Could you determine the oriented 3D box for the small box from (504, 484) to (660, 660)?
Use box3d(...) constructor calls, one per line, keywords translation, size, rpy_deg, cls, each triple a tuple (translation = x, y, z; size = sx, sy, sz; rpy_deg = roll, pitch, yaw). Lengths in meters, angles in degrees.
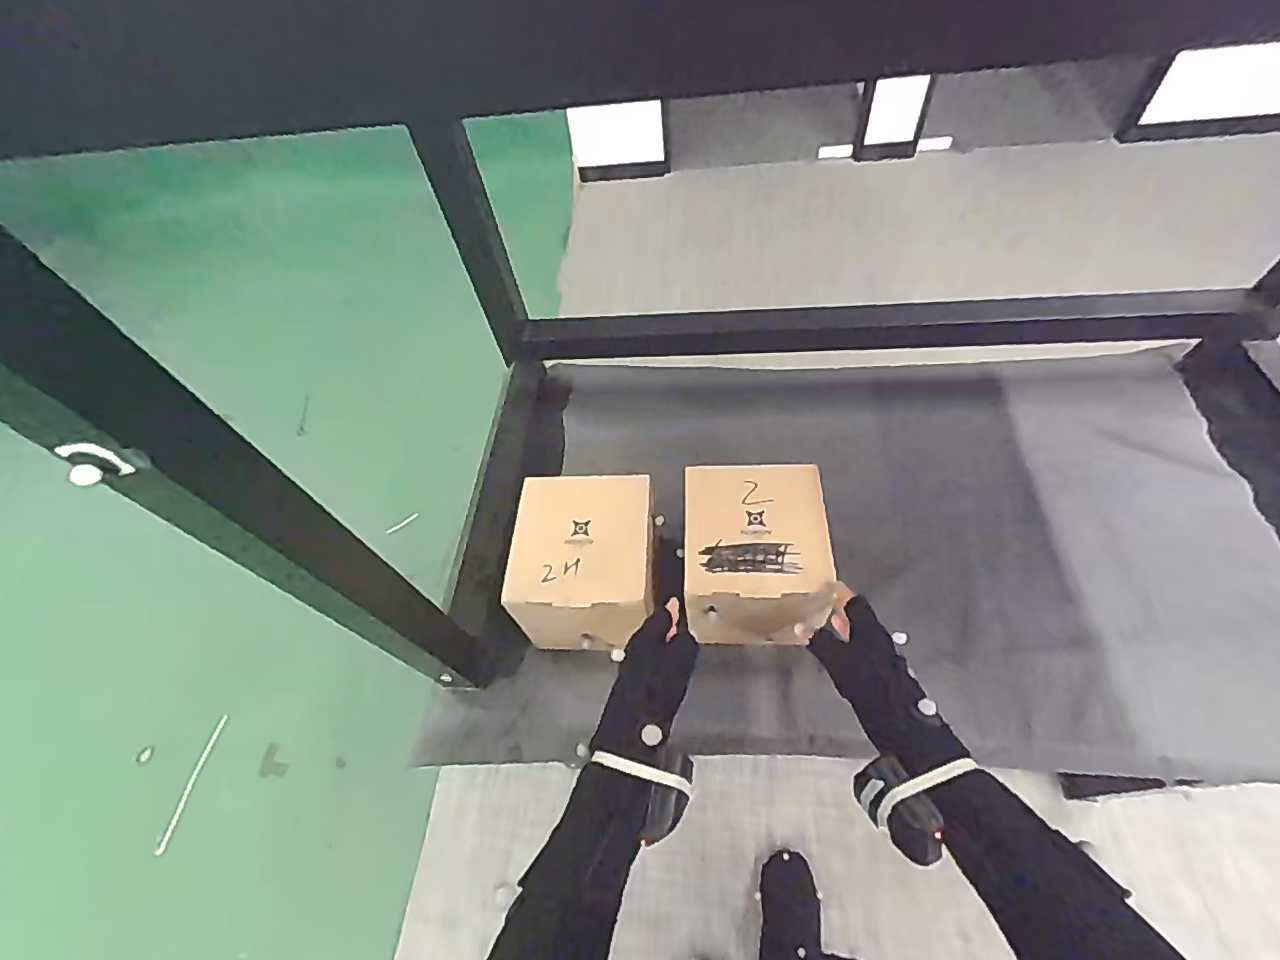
box3d(translation=(-0.062, 0.123, 0.713), size=(0.168, 0.176, 0.179), rpy_deg=(-1, 55, 6), cls="small box")
